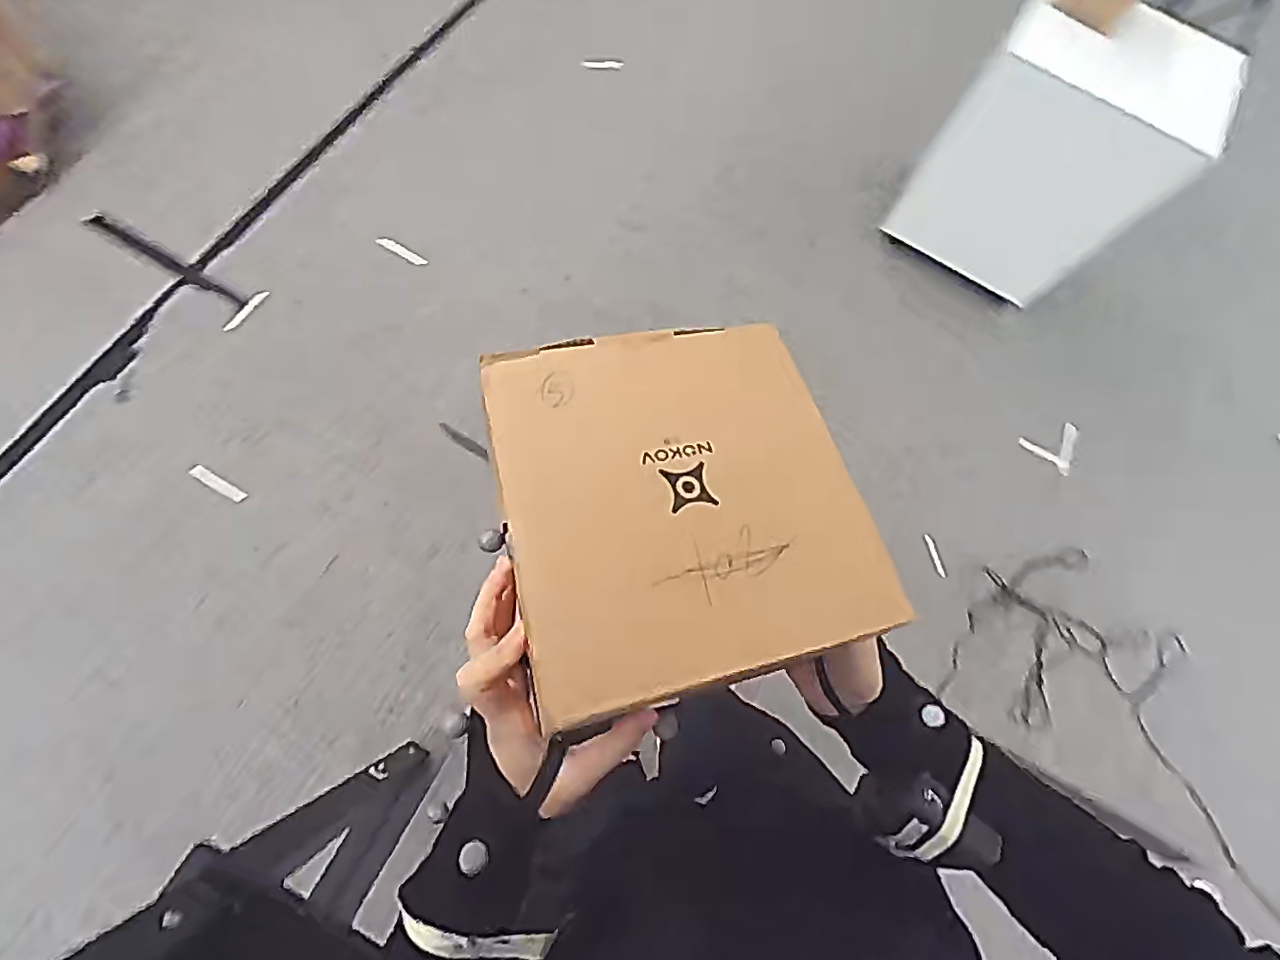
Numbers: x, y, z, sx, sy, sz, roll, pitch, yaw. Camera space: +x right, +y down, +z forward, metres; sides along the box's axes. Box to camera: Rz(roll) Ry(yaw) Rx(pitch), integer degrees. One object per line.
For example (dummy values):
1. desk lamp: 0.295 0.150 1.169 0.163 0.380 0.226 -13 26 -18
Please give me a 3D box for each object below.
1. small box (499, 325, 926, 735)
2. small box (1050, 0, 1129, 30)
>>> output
1. small box: 0.015 0.037 0.321 0.168 0.176 0.179 -11 66 -15
2. small box: 1.072 -1.185 1.230 0.168 0.176 0.179 32 72 3
